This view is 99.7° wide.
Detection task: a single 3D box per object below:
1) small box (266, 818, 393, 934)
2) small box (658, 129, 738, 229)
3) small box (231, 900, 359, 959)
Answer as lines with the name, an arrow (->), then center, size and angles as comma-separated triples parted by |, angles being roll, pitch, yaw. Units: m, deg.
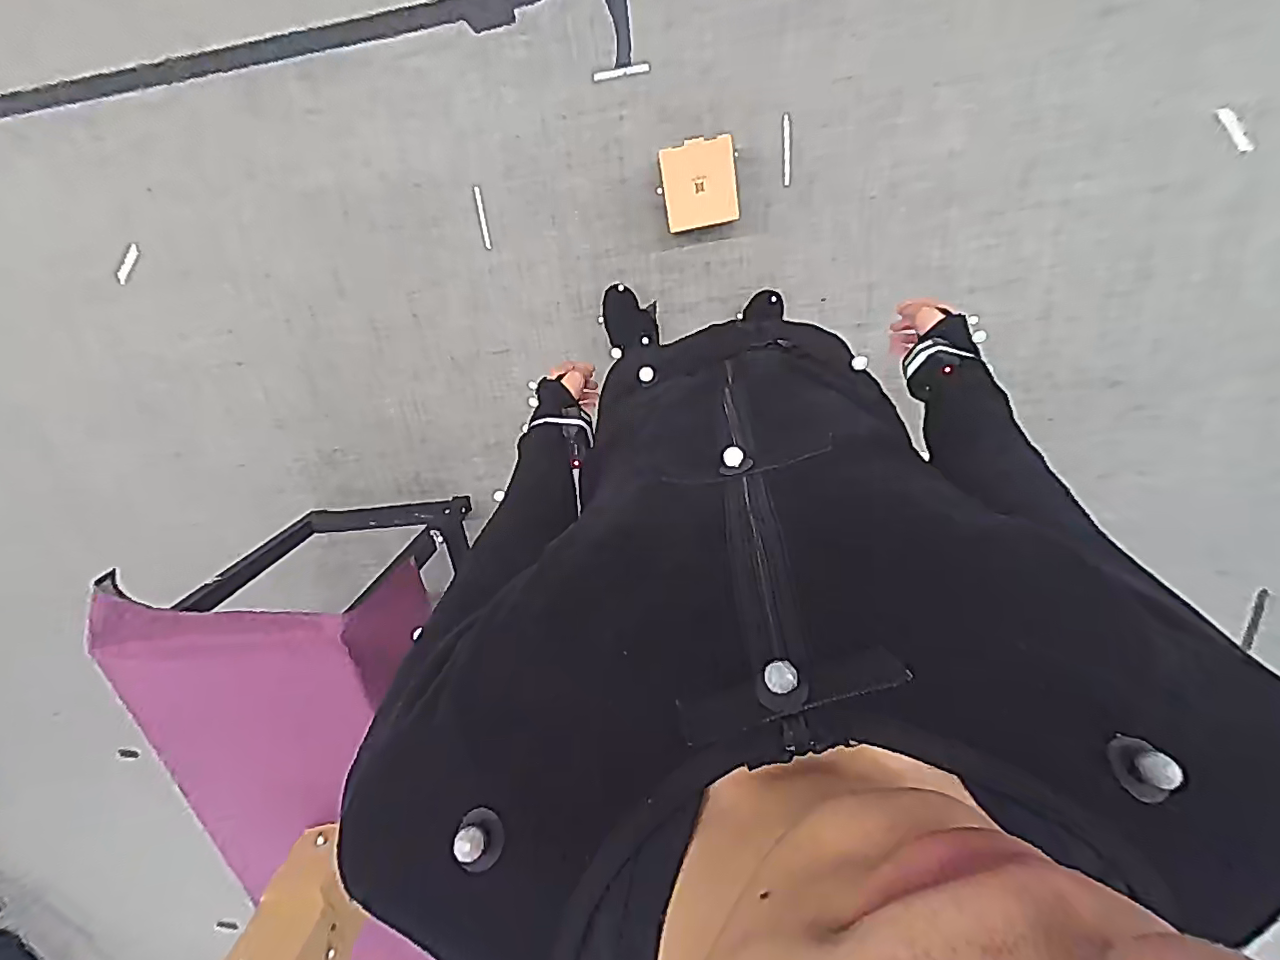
small box -> -0.736, 0.959, 1.307 | 0.168, 0.176, 0.179 | -15, 111, 11
small box -> 0.141, -0.714, 1.301 | 0.168, 0.176, 0.179 | -8, 112, 8
small box -> -0.753, 1.044, 1.166 | 0.179, 0.176, 0.168 | -10, 113, 9
